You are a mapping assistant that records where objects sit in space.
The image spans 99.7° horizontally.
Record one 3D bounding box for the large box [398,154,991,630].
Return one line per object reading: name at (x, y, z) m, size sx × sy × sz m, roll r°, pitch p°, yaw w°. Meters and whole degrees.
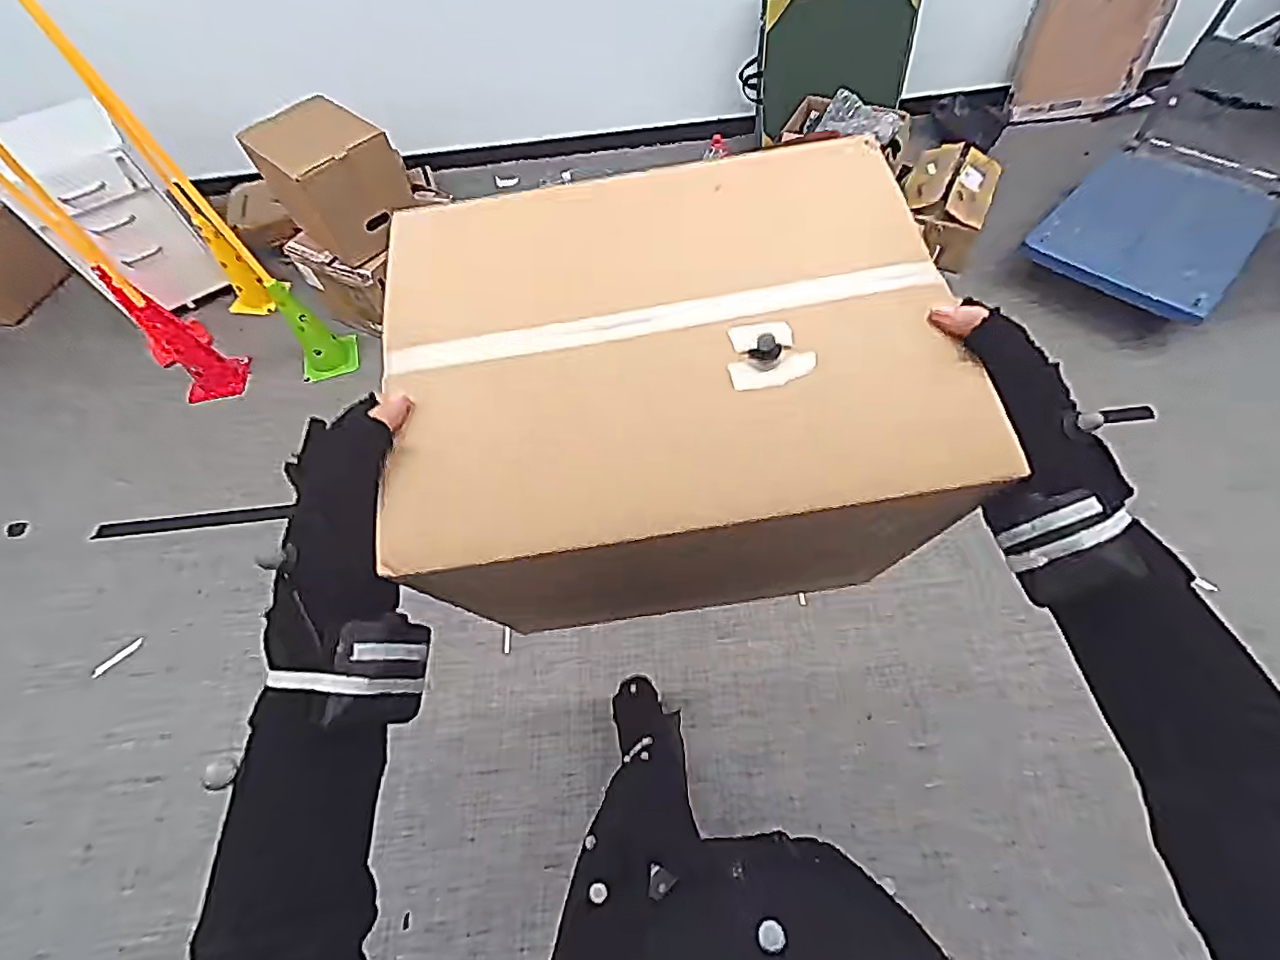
large box at (0.023, -0.054, 0.547) m, size 0.408 × 0.320 × 0.320 m, roll -9°, pitch 67°, yaw 1°
